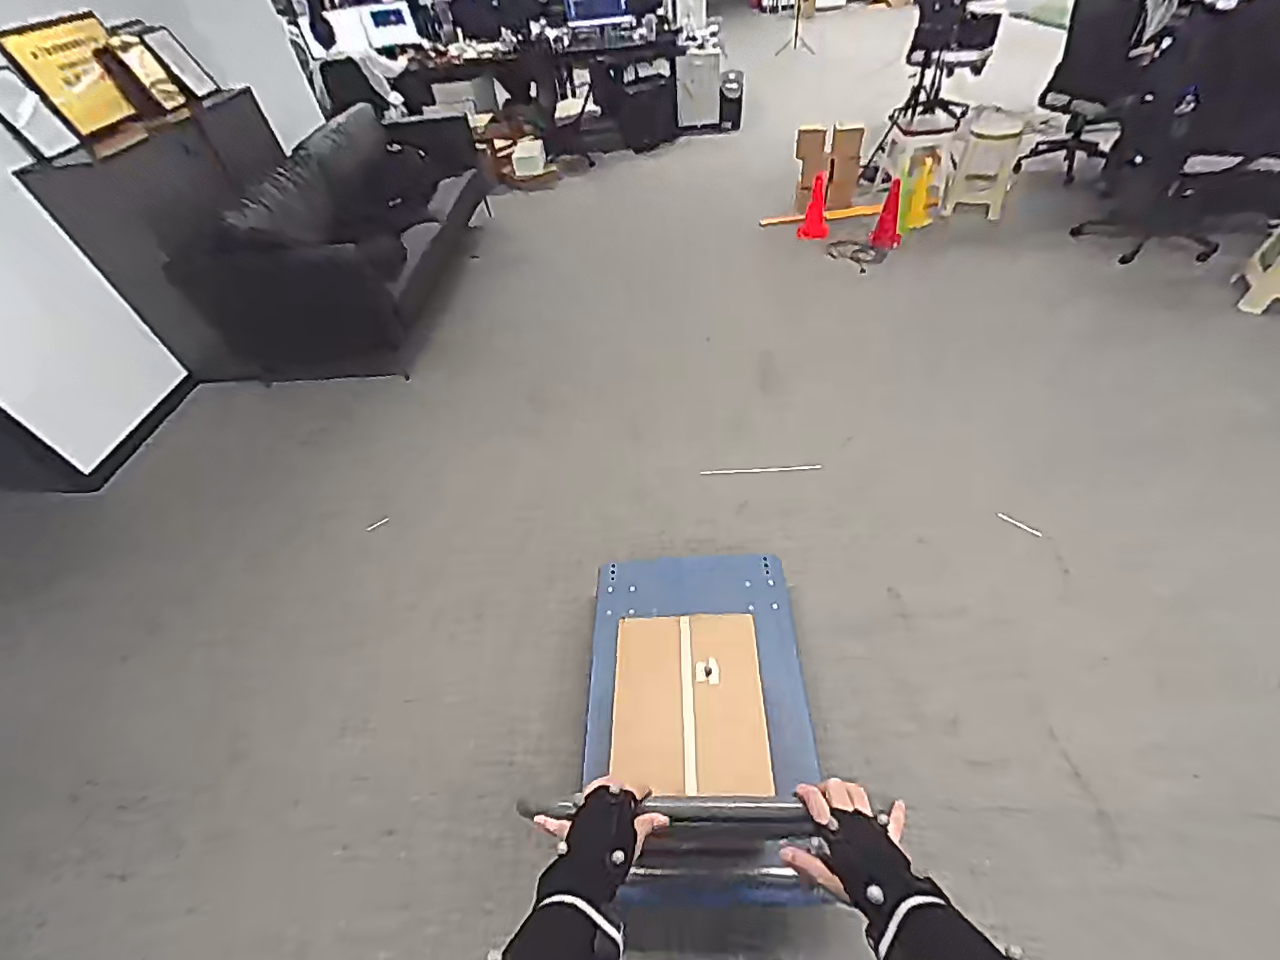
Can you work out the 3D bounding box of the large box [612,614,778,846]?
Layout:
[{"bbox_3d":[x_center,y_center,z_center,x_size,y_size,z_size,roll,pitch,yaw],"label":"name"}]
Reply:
[{"bbox_3d":[0.117,0.568,1.236,0.320,0.320,0.408,-3,46,4],"label":"large box"}]
